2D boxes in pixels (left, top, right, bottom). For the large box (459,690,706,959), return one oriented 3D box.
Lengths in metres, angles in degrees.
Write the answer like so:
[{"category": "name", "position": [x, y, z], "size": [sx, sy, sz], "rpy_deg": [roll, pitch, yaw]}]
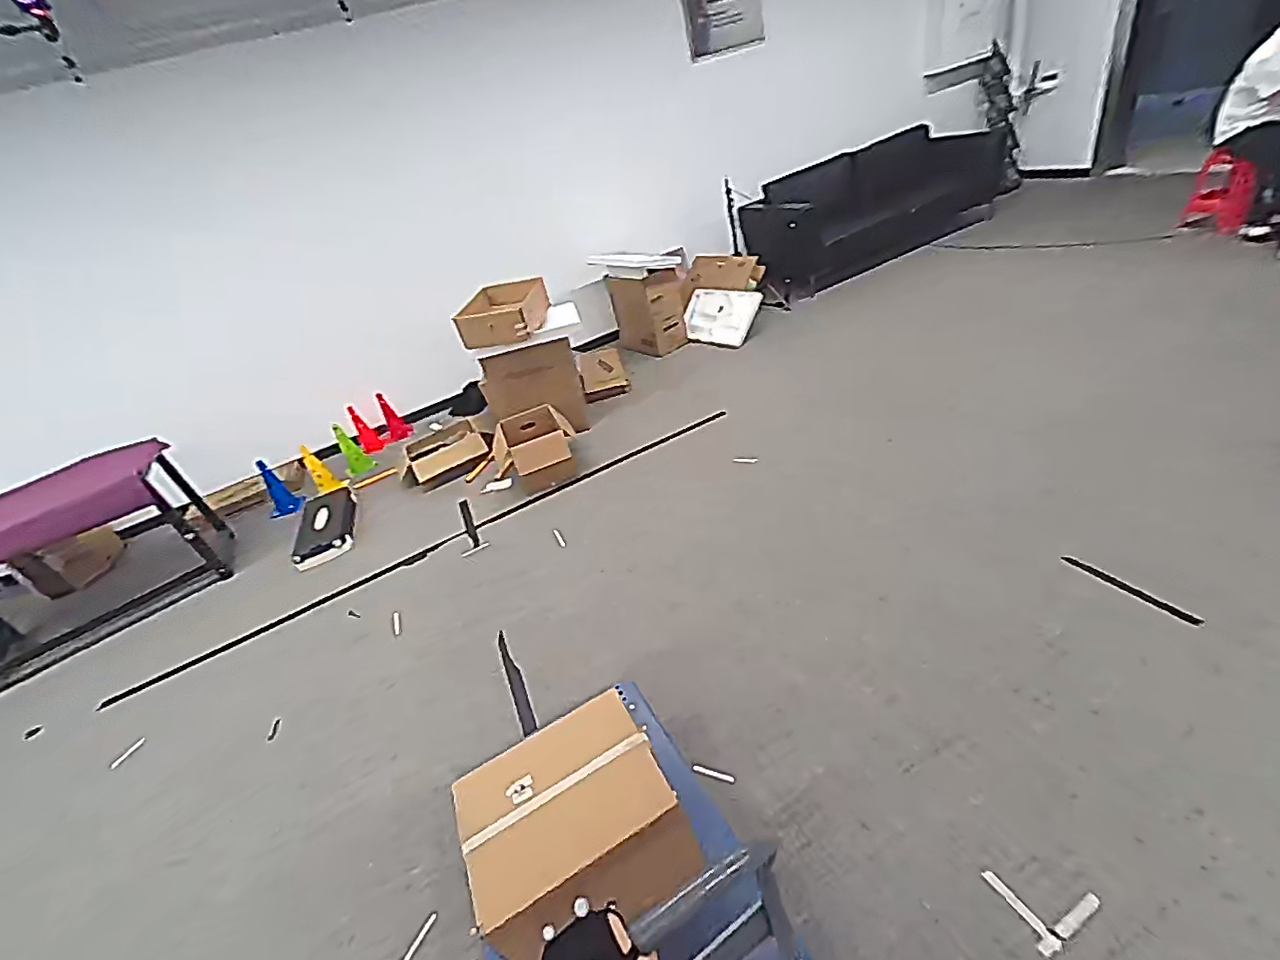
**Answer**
[{"category": "large box", "position": [-0.121, 0.762, 1.189], "size": [0.408, 0.320, 0.320], "rpy_deg": [-27, 33, -14]}]
